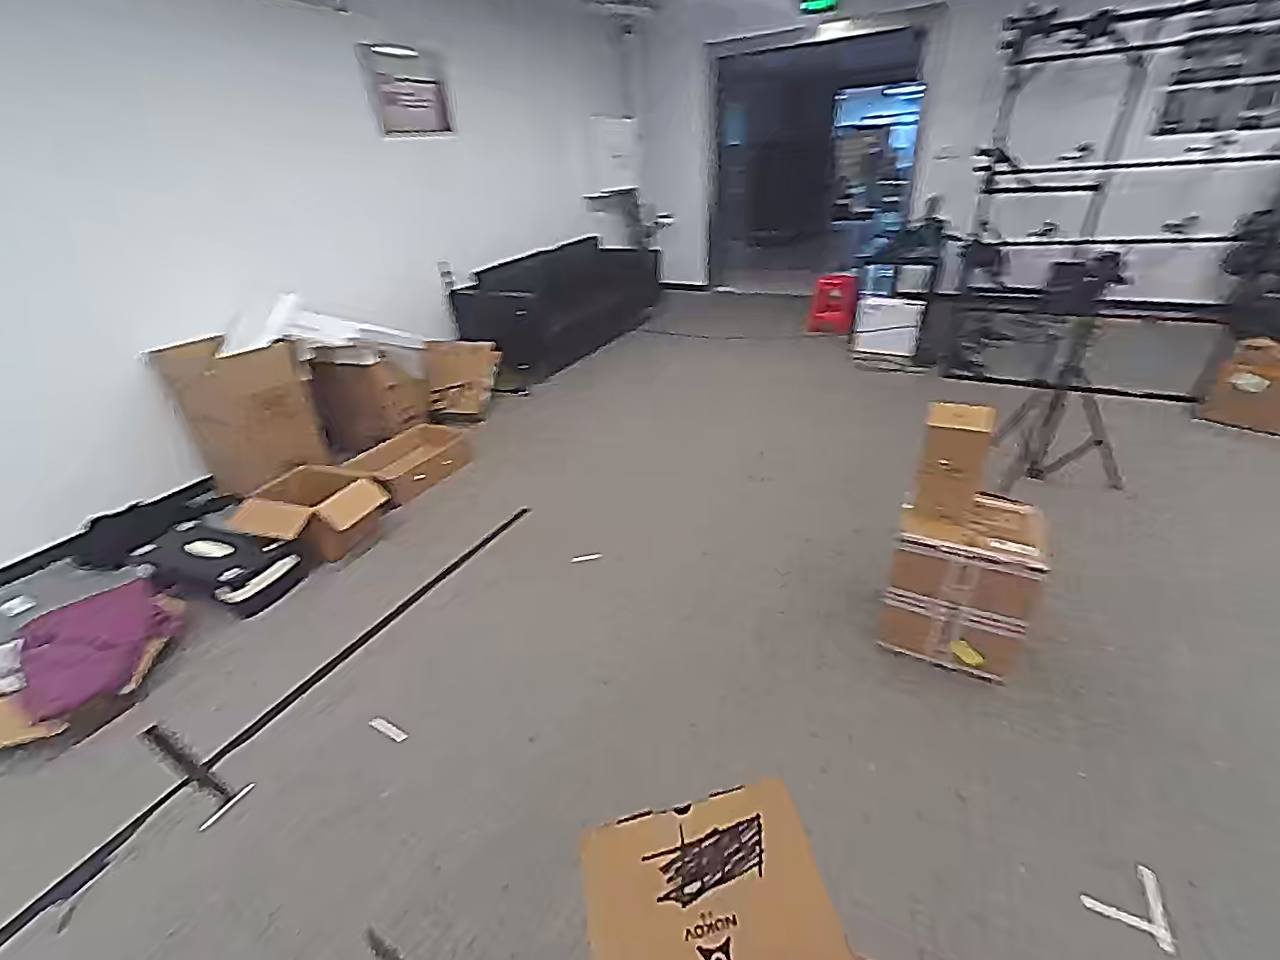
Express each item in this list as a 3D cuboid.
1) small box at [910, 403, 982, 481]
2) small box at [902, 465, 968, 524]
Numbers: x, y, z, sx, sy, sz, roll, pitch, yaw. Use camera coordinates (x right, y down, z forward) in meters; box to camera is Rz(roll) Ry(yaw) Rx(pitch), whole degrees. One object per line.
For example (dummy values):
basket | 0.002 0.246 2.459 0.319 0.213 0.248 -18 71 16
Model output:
small box | 0.948 -0.120 1.677 0.168 0.176 0.179 11 36 28
small box | 0.963 0.017 1.763 0.168 0.176 0.179 11 36 28
